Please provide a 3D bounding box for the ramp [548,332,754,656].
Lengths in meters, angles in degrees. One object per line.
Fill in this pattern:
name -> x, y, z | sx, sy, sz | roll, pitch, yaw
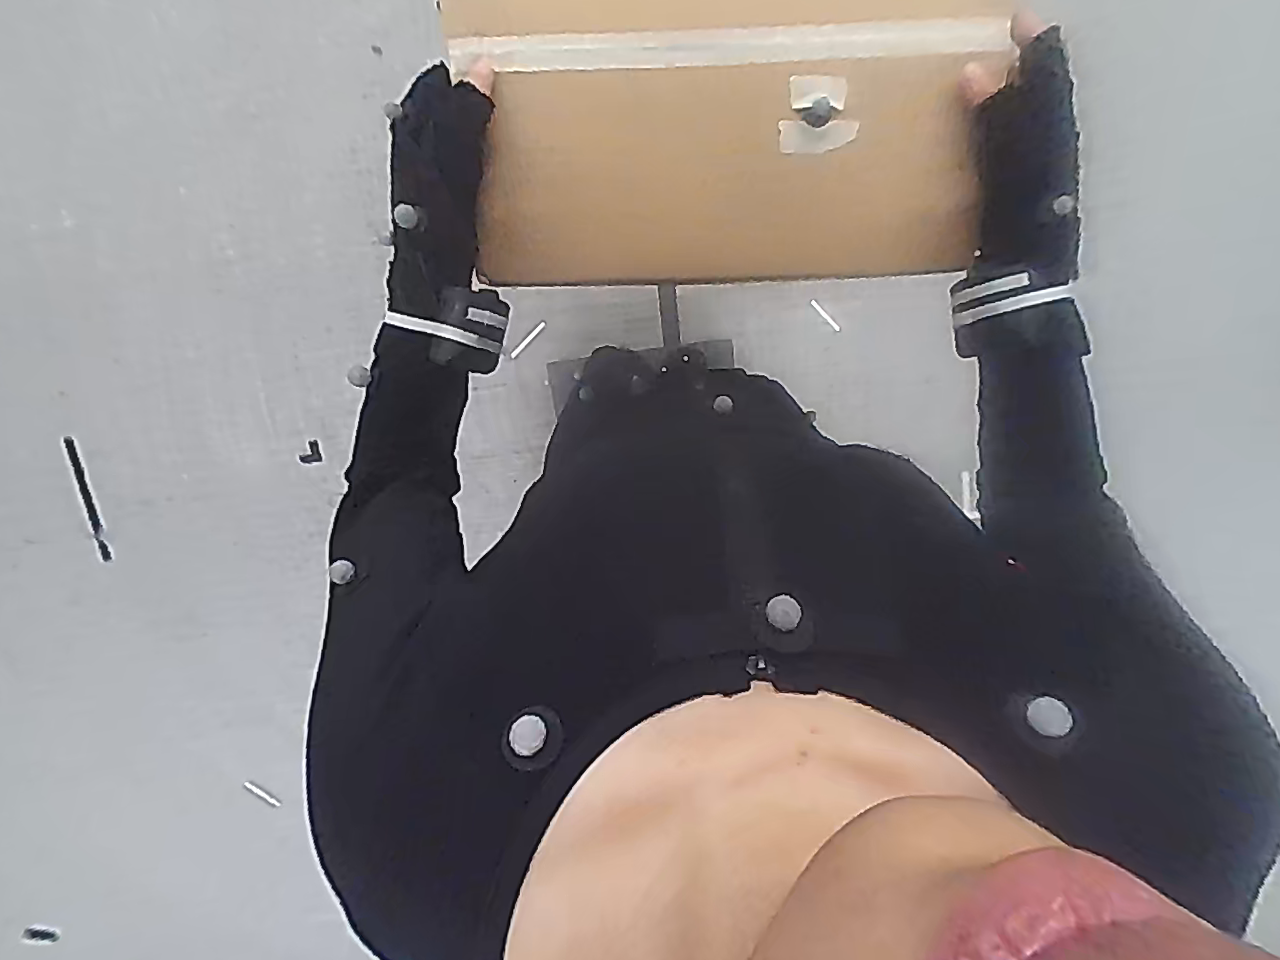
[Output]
ramp -> 0.070, 0.098, 1.600 | 0.509, 0.206, 0.991 | -10, 103, 1

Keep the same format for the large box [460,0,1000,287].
large box -> 0.064, -0.370, 0.548 | 0.408, 0.320, 0.320 | -2, 110, 0
